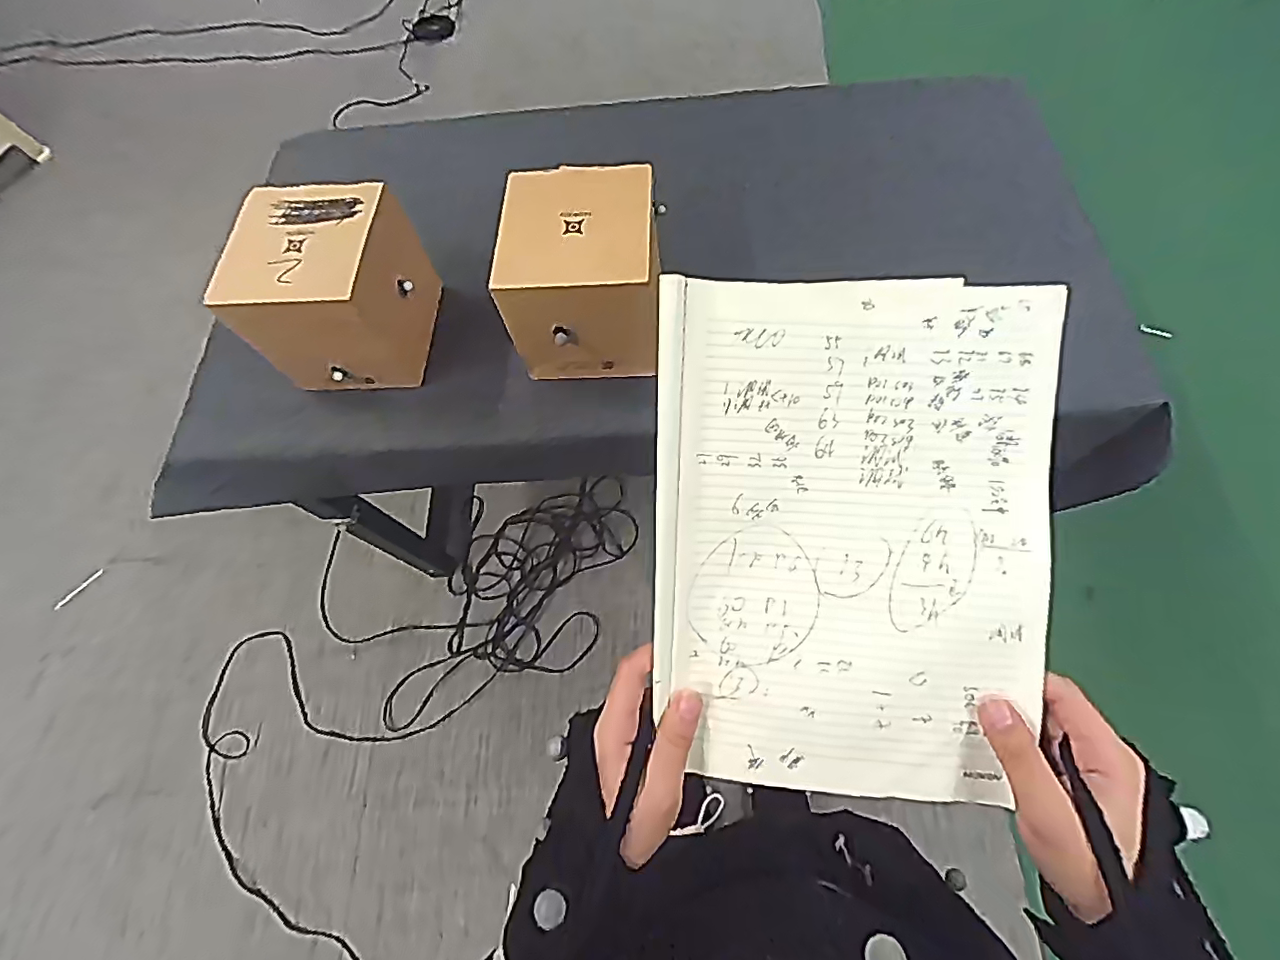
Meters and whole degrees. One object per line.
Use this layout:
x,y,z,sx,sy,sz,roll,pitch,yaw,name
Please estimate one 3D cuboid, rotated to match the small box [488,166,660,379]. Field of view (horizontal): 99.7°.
-0.063,-0.232,0.641,0.168,0.176,0.179,-1,65,5,small box
